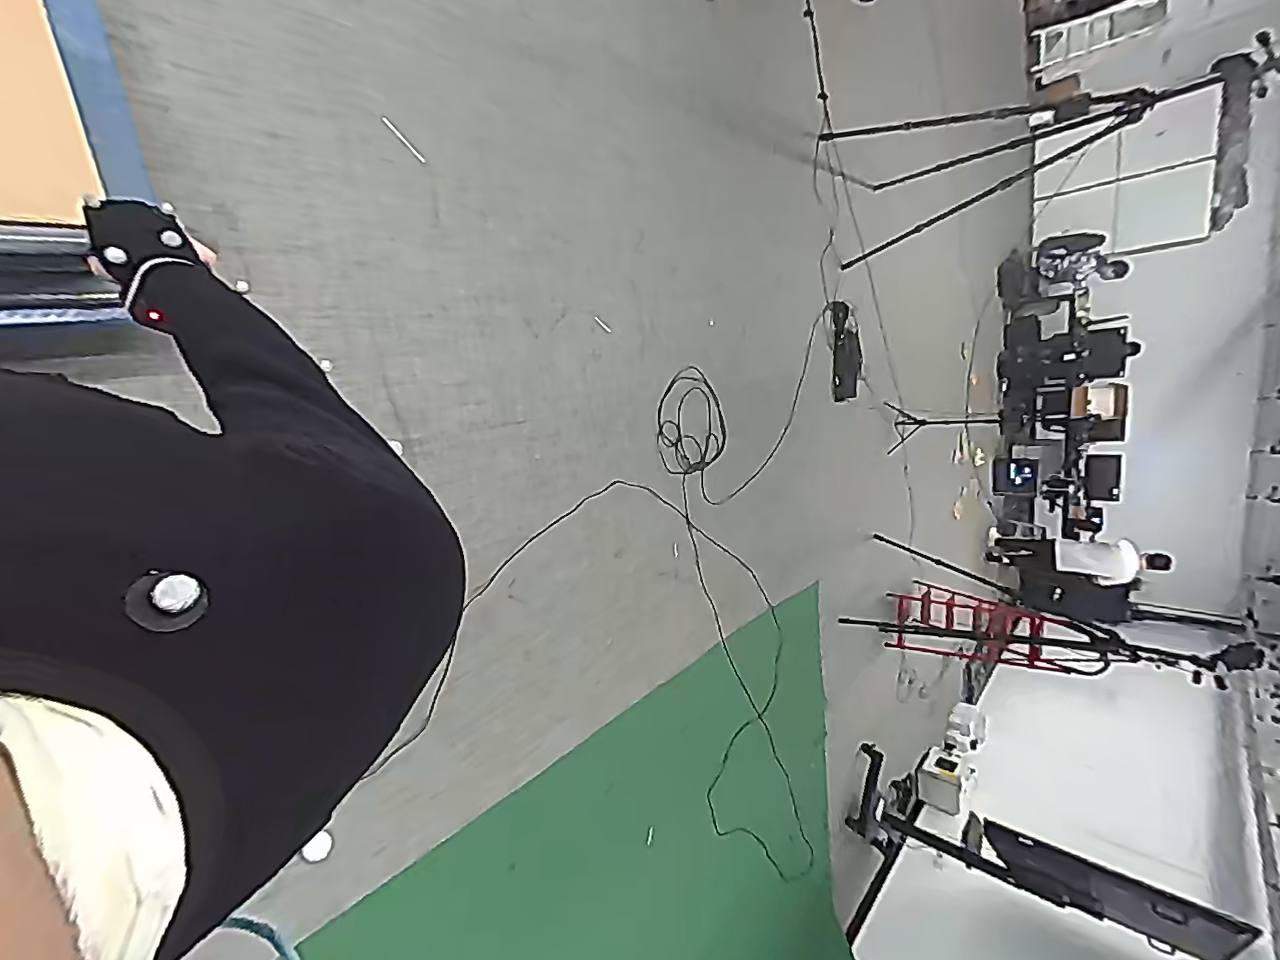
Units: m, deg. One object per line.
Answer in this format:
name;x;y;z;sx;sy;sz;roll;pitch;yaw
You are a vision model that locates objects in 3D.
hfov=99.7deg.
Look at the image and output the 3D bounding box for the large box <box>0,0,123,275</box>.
large box;-1.046;-0.543;0.806;0.320;0.320;0.408;-20;106;-43
